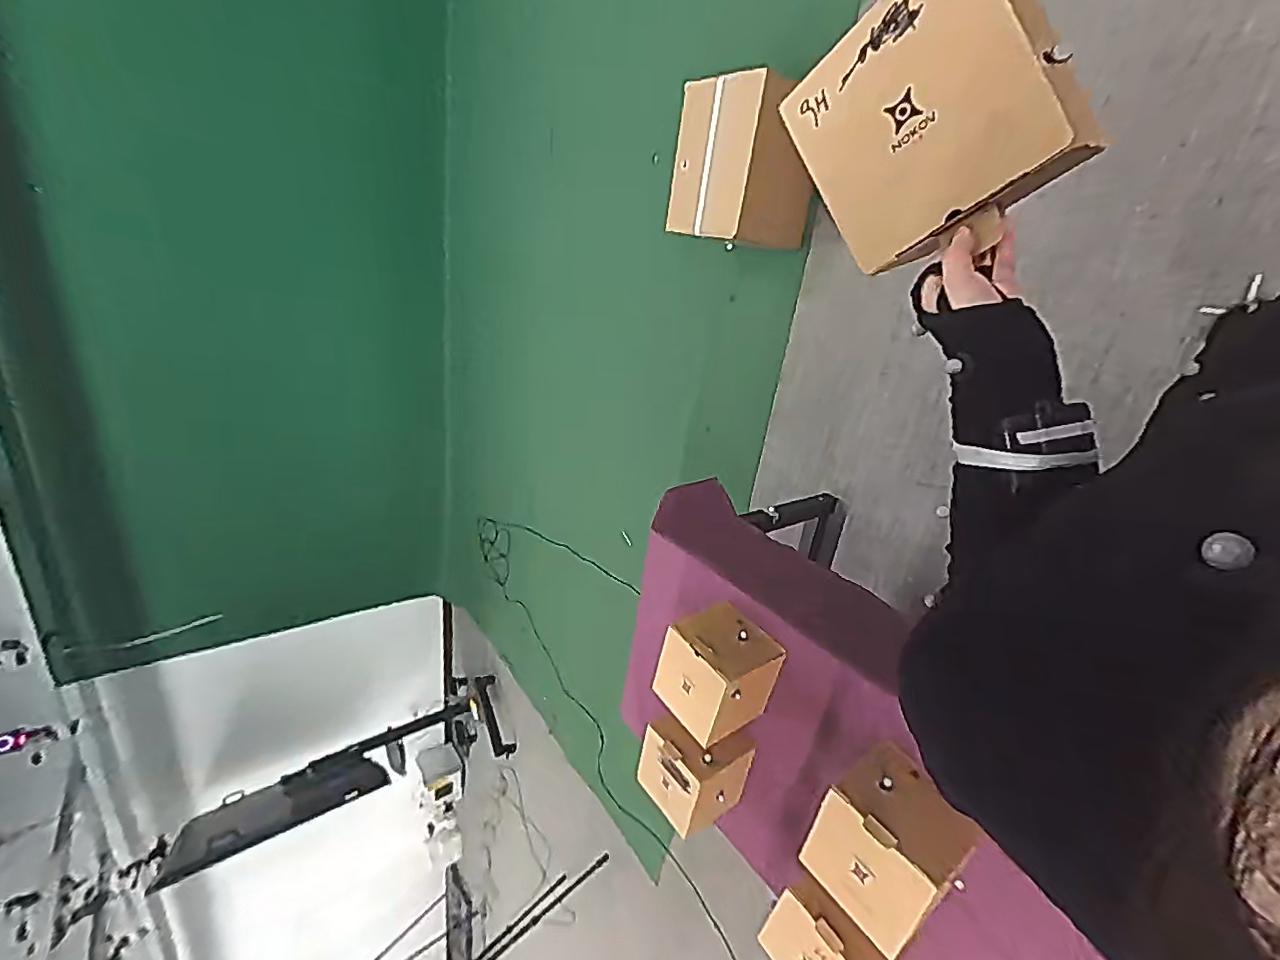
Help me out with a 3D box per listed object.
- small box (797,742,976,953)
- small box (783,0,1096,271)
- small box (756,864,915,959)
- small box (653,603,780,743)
[{"bbox_3d":[0.377,0.545,0.827,0.168,0.176,0.179,35,125,44],"label":"small box"},{"bbox_3d":[0.269,-0.319,0.483,0.168,0.176,0.179,-24,94,50],"label":"small box"},{"bbox_3d":[0.334,0.767,0.926,0.168,0.176,0.179,39,126,41],"label":"small box"},{"bbox_3d":[0.153,0.377,1.083,0.168,0.176,0.179,37,125,42],"label":"small box"}]
